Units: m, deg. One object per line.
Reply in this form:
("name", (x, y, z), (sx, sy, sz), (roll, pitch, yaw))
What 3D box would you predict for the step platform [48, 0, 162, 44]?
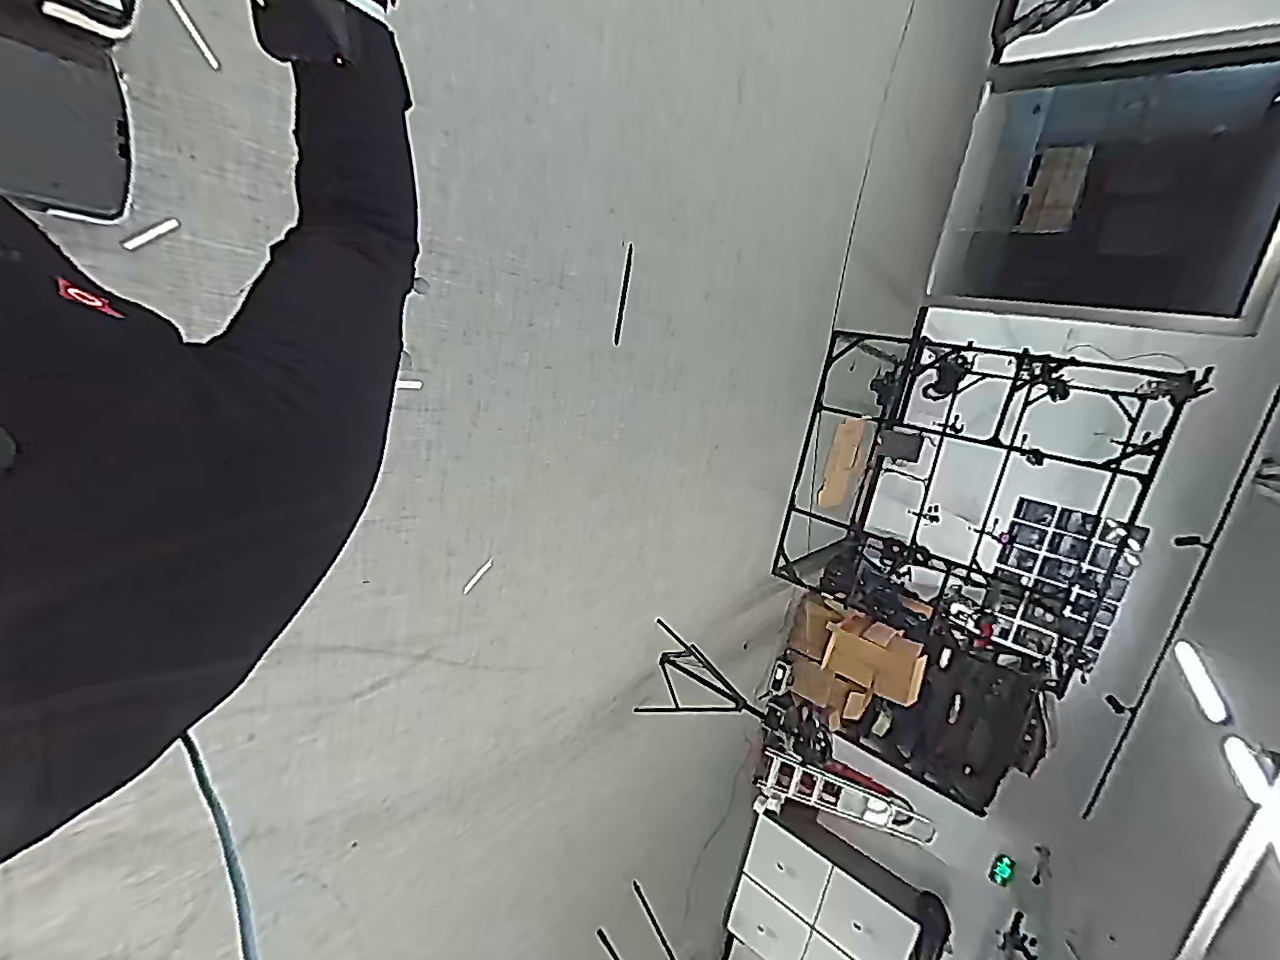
("step platform", (-1.038, -0.863, 0.664), (0.684, 0.204, 0.286), (-11, 115, -52))
